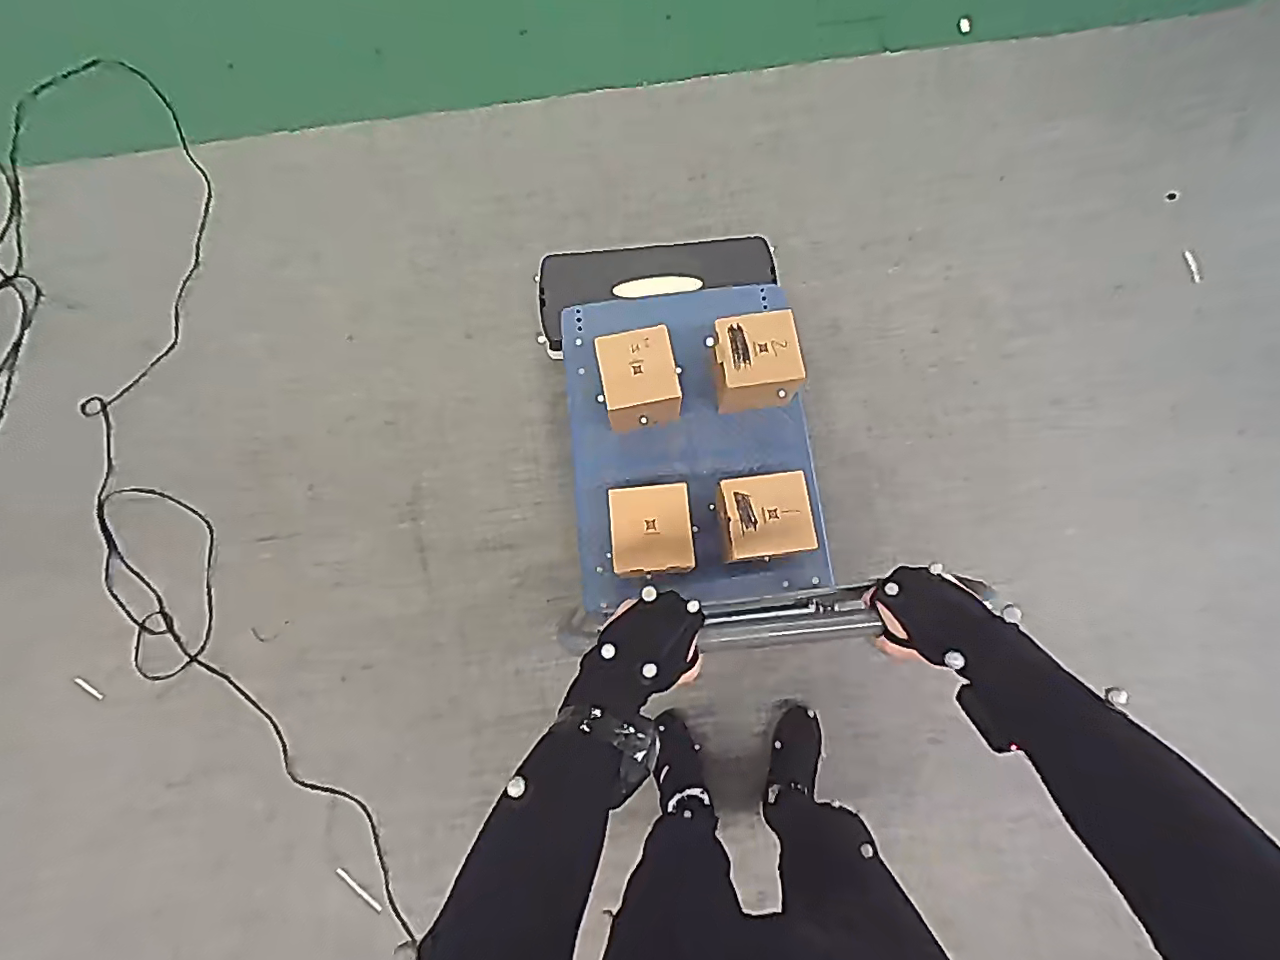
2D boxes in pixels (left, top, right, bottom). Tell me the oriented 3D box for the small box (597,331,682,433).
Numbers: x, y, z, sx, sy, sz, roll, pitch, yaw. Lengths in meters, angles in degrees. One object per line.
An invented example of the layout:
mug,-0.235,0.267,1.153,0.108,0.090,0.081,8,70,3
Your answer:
small box,0.000,-0.219,1.261,0.168,0.176,0.179,-11,77,-2

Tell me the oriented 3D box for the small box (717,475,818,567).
small box,0.267,0.095,1.182,0.179,0.176,0.168,-7,77,-1

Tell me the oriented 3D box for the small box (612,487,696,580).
small box,0.027,0.123,1.184,0.168,0.176,0.179,-5,78,-1
